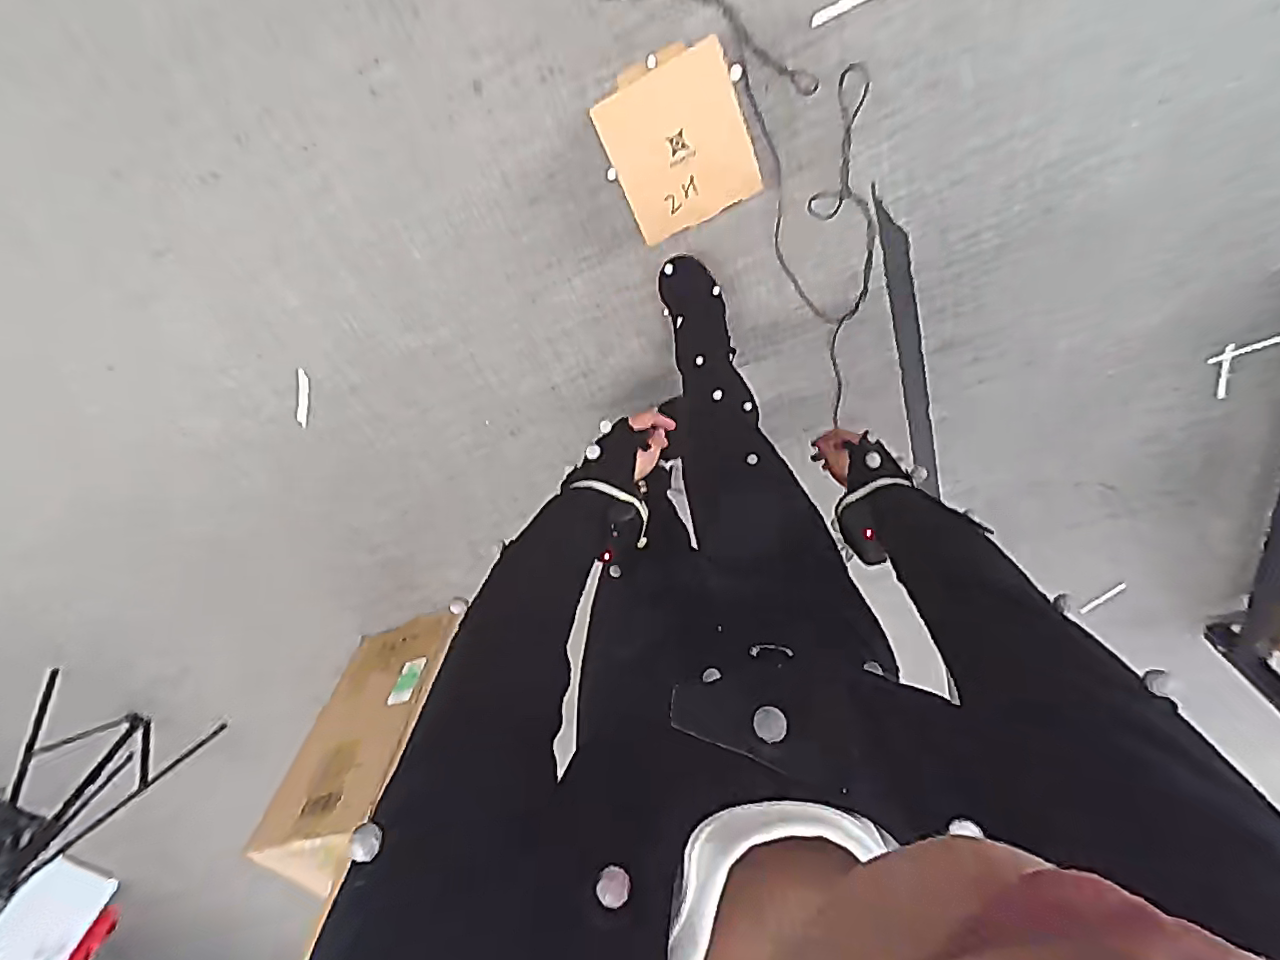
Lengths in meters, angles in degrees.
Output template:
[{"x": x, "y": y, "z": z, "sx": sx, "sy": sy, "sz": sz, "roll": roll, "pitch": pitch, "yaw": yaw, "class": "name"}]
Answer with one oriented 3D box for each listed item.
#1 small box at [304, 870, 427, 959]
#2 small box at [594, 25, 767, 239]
[{"x": -0.618, "y": 1.026, "z": 1.244, "sx": 0.179, "sy": 0.176, "sz": 0.168, "roll": -18, "pitch": 123, "yaw": 15, "class": "small box"}, {"x": 0.054, "y": -0.457, "z": 0.723, "sx": 0.168, "sy": 0.176, "sz": 0.179, "roll": -20, "pitch": 123, "yaw": 16, "class": "small box"}]
